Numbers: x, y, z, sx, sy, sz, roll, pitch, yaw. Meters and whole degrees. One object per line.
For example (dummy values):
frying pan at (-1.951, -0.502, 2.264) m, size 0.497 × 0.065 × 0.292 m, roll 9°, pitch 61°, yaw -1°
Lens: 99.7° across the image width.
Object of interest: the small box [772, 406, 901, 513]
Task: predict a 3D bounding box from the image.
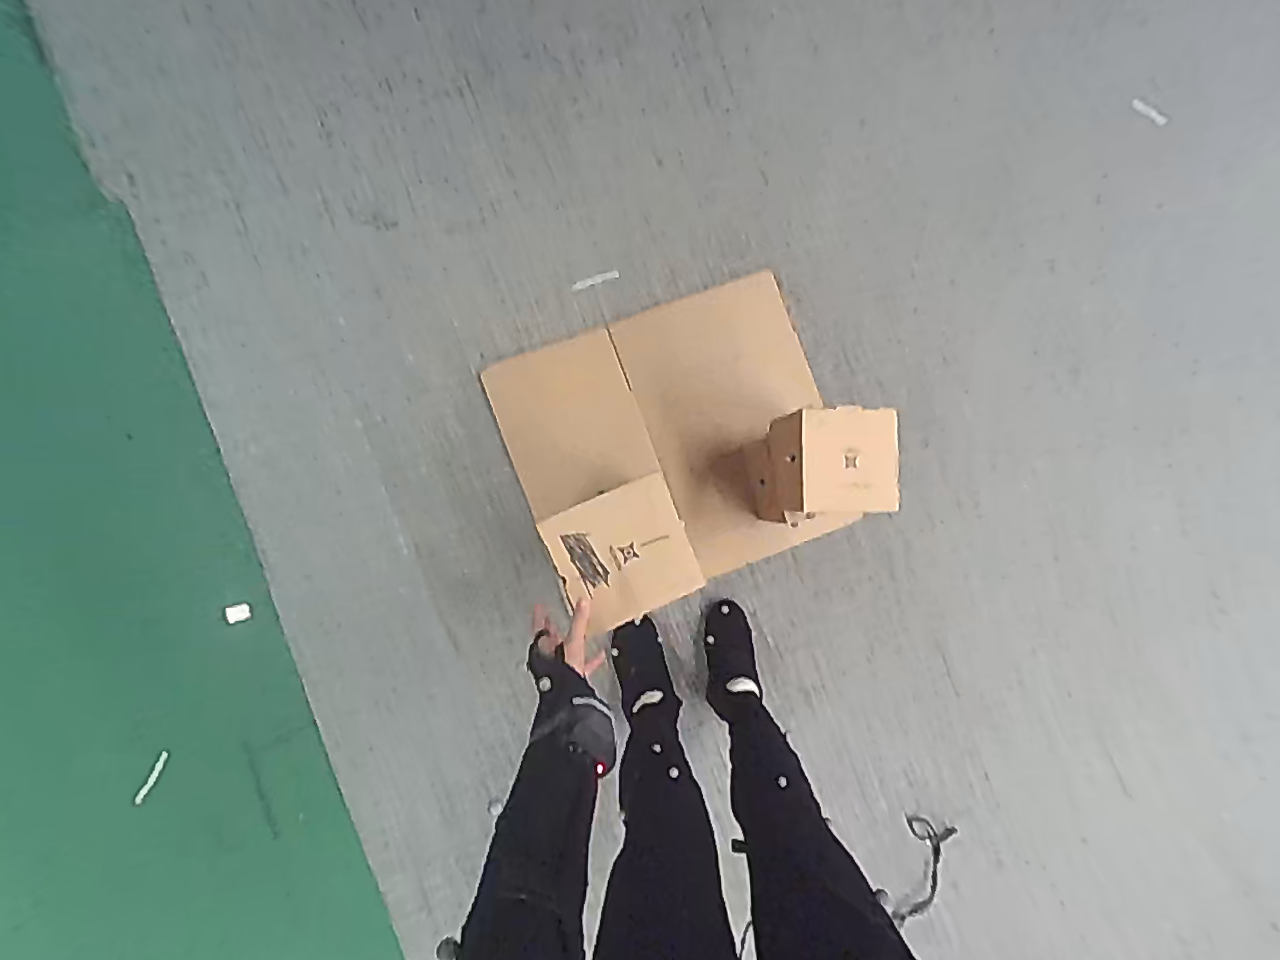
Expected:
small box at (0.342, -0.030, 0.967) m, size 0.168 × 0.176 × 0.179 m, roll 0°, pitch 88°, yaw -5°

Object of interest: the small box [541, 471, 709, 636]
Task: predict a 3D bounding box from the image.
small box at (-0.023, 0.098, 0.774) m, size 0.179 × 0.176 × 0.168 m, roll -23°, pitch 90°, yaw -5°
